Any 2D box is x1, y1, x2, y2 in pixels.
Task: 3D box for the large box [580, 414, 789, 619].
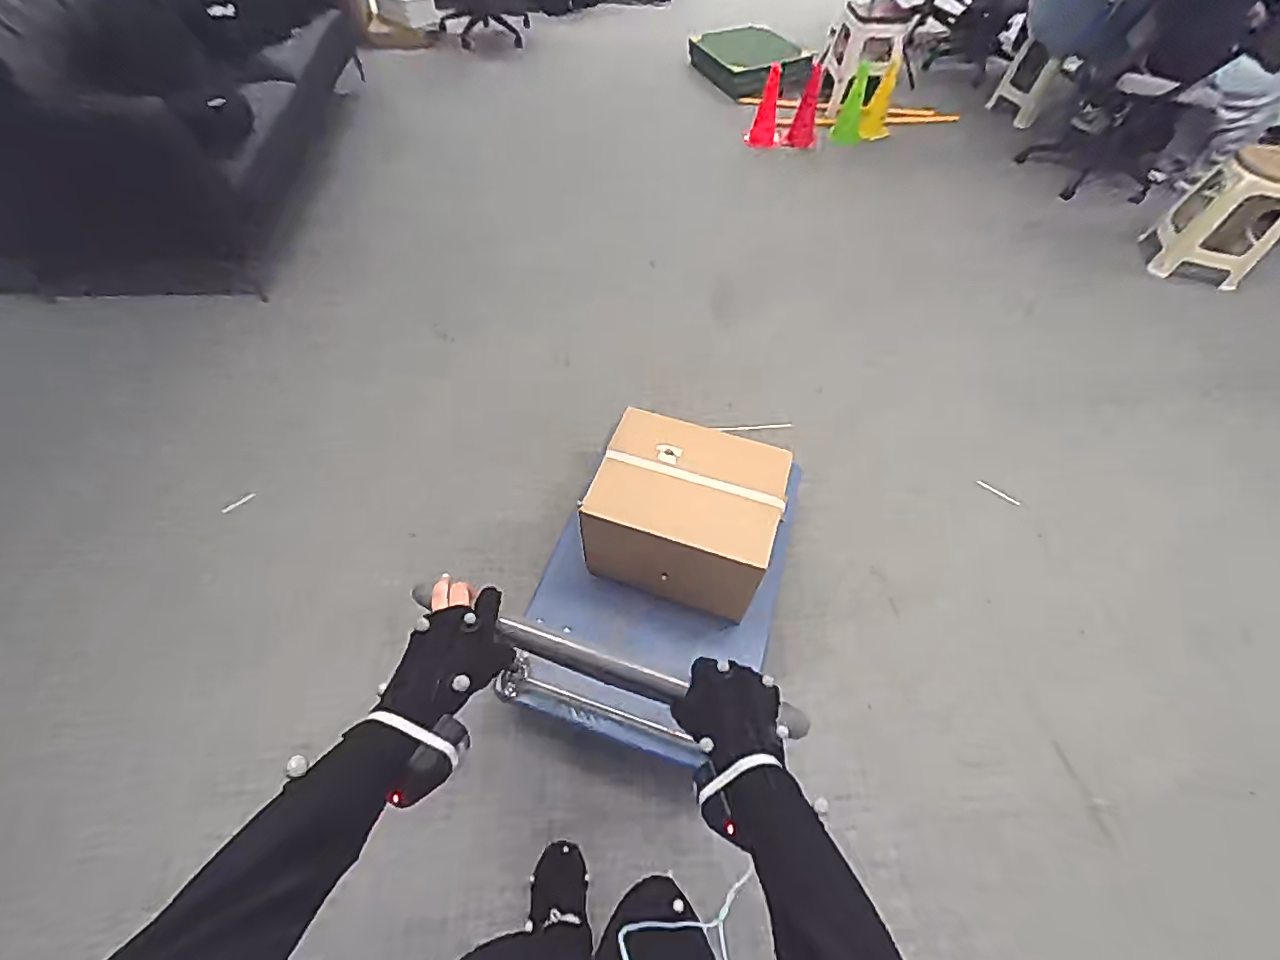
[{"bbox_3d":[0.109,0.094,1.313,0.408,0.320,0.320,16,56,11],"label":"large box"}]
